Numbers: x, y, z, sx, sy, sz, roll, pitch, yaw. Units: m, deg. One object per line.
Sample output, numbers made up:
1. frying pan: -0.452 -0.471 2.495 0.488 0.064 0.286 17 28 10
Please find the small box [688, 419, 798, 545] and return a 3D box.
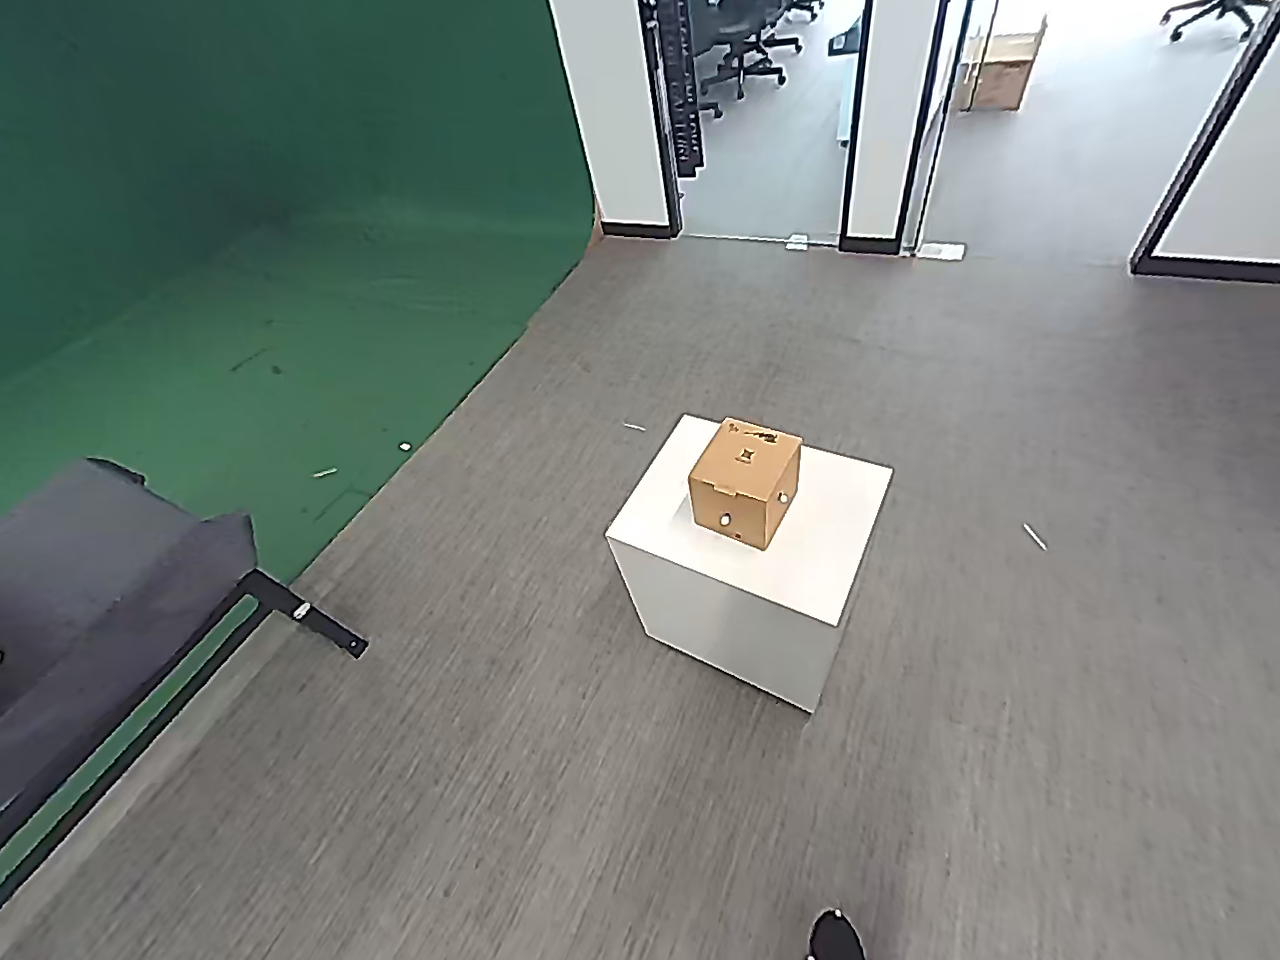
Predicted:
1. small box: 0.218 0.007 1.117 0.168 0.176 0.179 18 57 26
